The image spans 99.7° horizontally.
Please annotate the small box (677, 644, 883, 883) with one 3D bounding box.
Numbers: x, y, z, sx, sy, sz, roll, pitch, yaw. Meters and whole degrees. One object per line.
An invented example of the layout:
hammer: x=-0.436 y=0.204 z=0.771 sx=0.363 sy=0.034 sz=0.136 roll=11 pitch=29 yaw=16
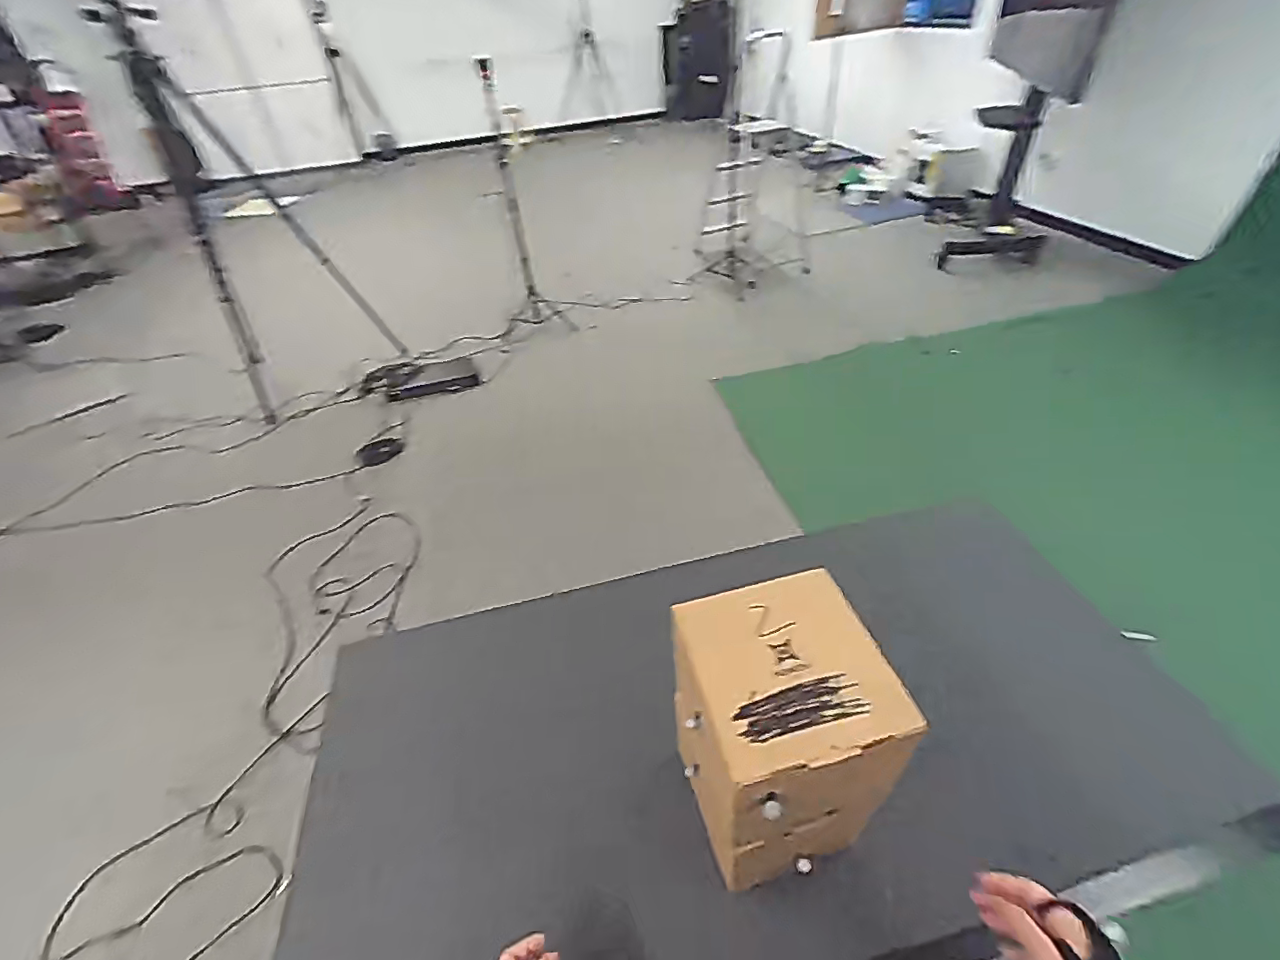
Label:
small box: x=0.149 y=0.333 z=0.642 sx=0.168 sy=0.176 sz=0.179 roll=-15 pitch=42 yaw=-10
